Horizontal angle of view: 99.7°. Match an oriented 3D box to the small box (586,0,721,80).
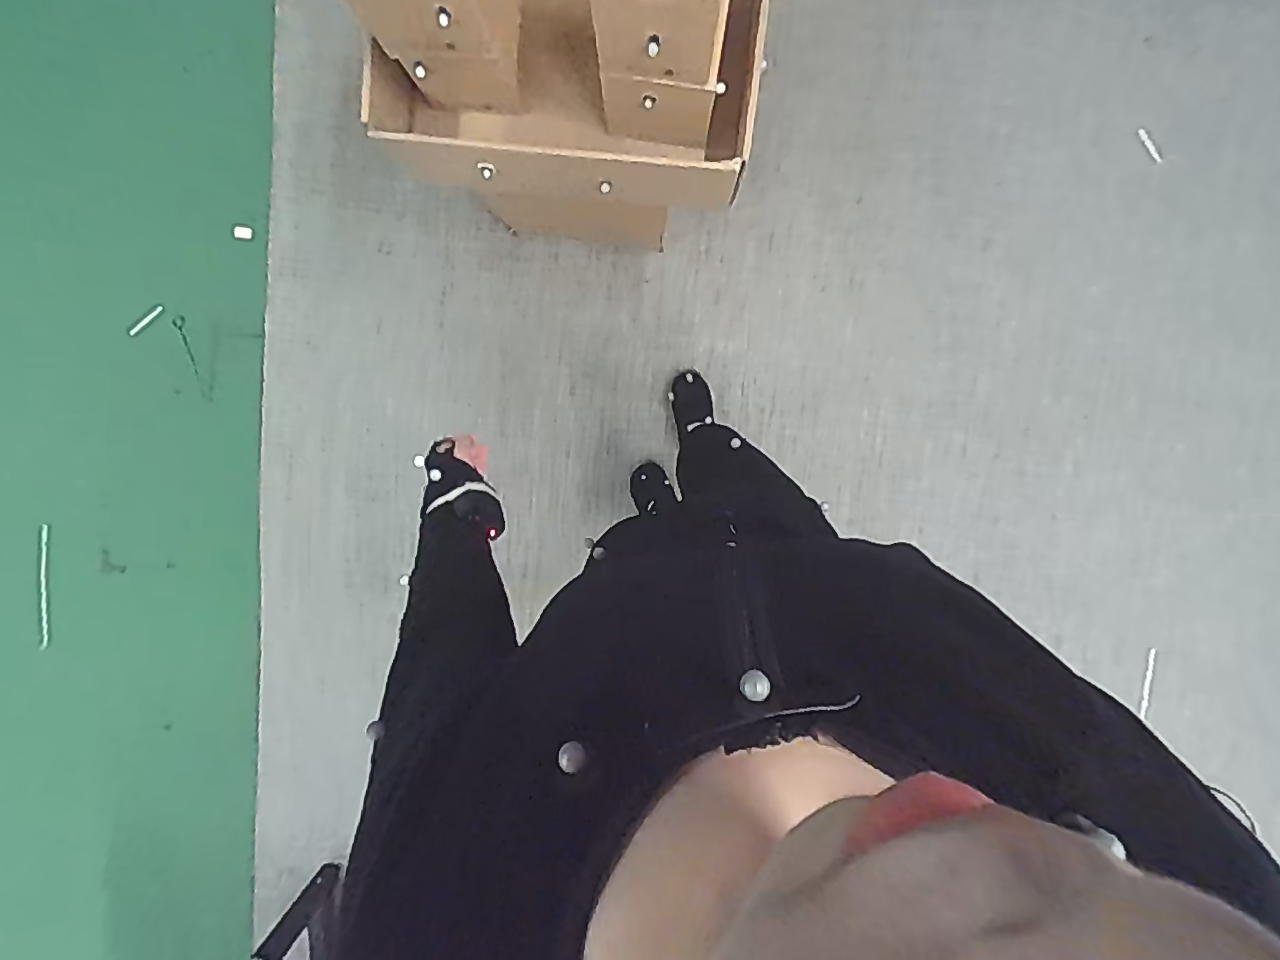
[{"bbox_3d":[0.028,-0.668,0.705,0.168,0.176,0.179,9,96,1],"label":"small box"}]
